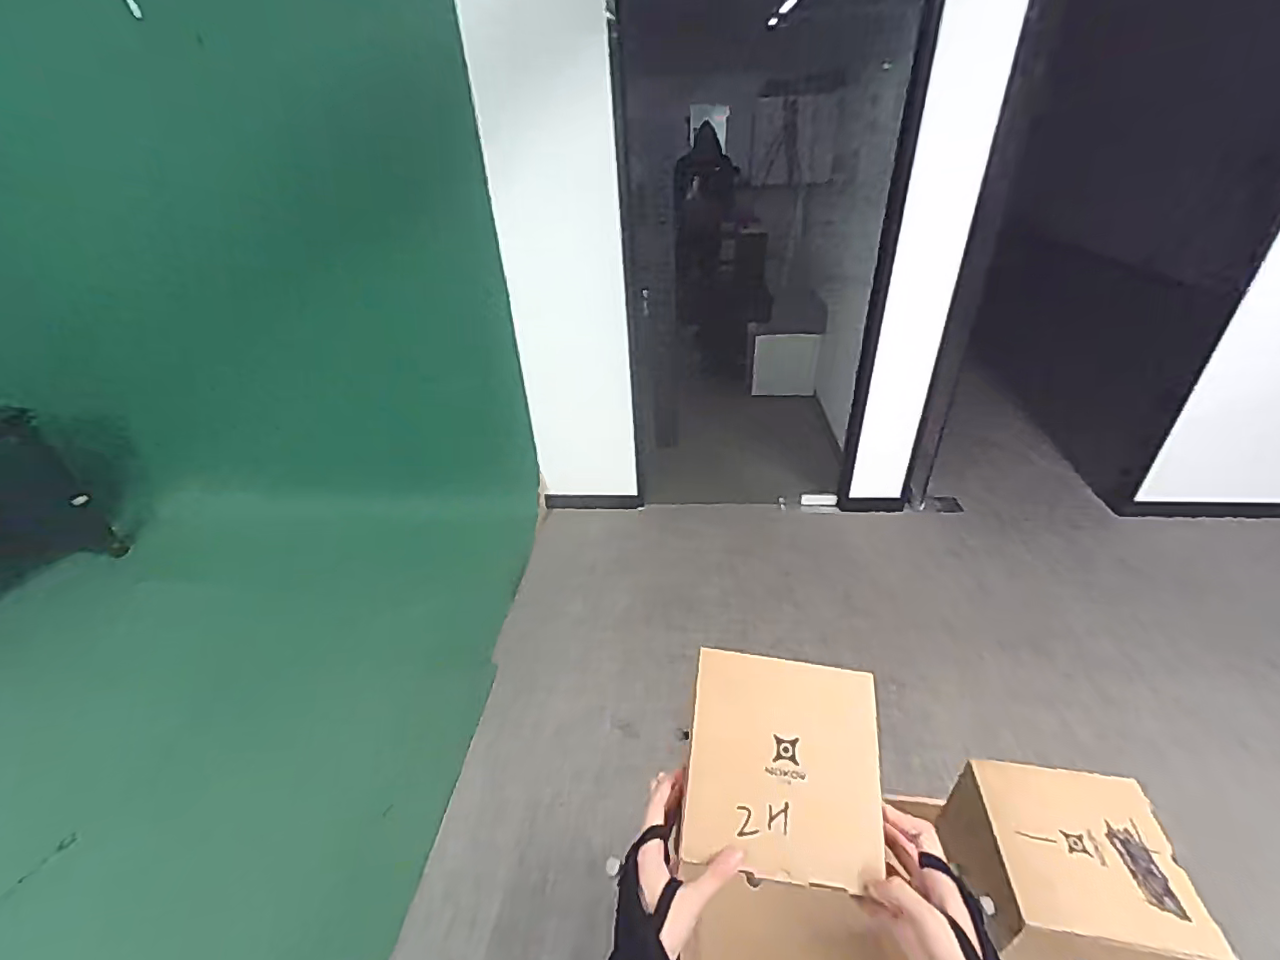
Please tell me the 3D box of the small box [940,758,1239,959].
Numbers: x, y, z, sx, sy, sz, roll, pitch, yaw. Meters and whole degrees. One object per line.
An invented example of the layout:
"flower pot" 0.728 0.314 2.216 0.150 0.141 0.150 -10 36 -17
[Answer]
"small box" 0.461 0.442 0.594 0.179 0.176 0.168 3 34 11

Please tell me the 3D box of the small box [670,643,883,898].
"small box" 0.123 0.283 0.539 0.168 0.176 0.179 8 60 5
